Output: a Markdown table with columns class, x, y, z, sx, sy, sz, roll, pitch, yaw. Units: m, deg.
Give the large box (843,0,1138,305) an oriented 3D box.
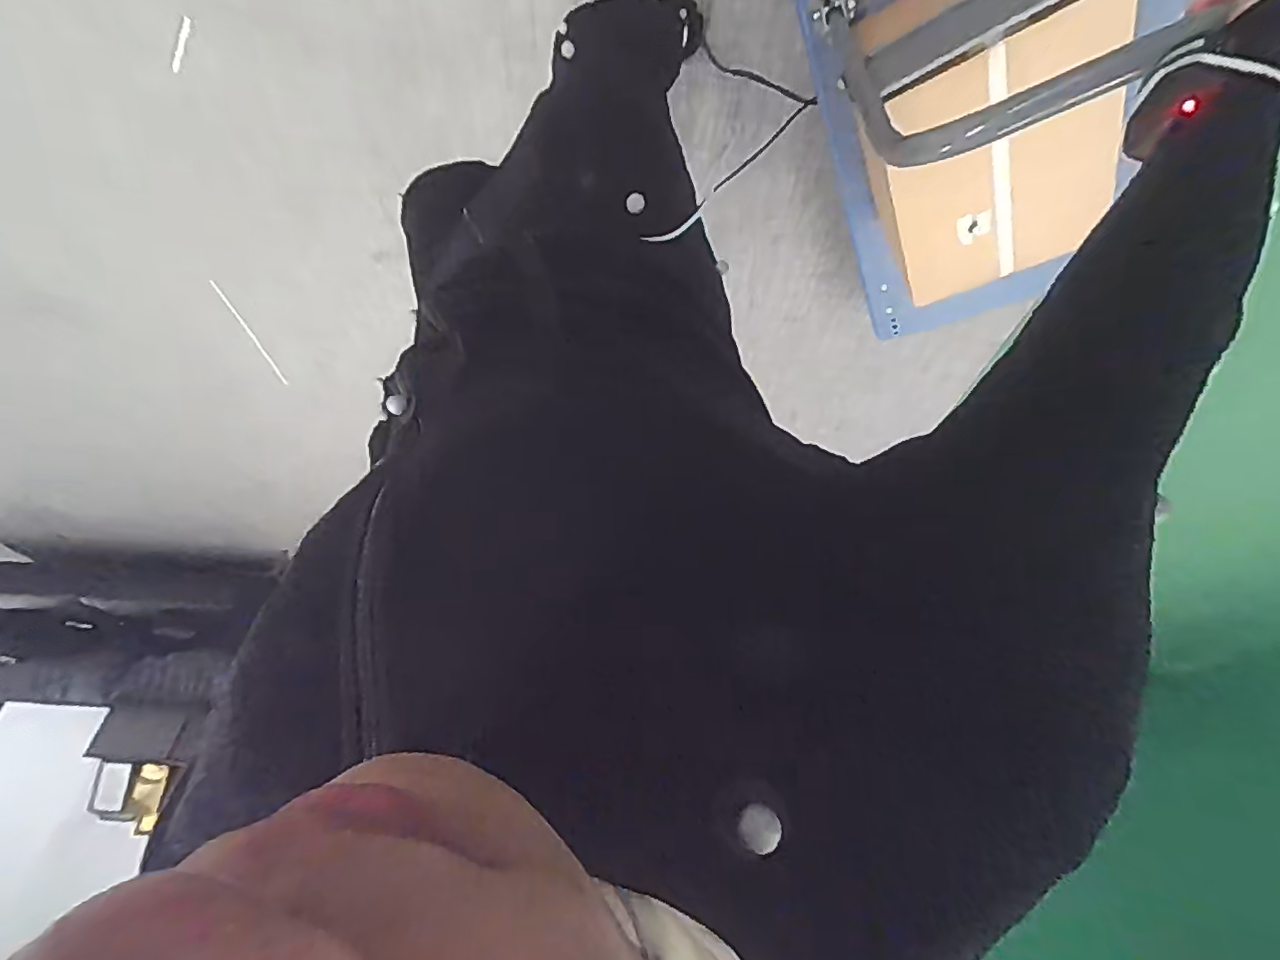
| class | x | y | z | sx | sy | sz | roll | pitch | yaw |
| --- | --- | --- | --- | --- | --- | --- | --- | --- | --- |
| large box | 0.585 | -0.605 | 0.947 | 0.320 | 0.320 | 0.408 | -16 | 141 | 26 |
